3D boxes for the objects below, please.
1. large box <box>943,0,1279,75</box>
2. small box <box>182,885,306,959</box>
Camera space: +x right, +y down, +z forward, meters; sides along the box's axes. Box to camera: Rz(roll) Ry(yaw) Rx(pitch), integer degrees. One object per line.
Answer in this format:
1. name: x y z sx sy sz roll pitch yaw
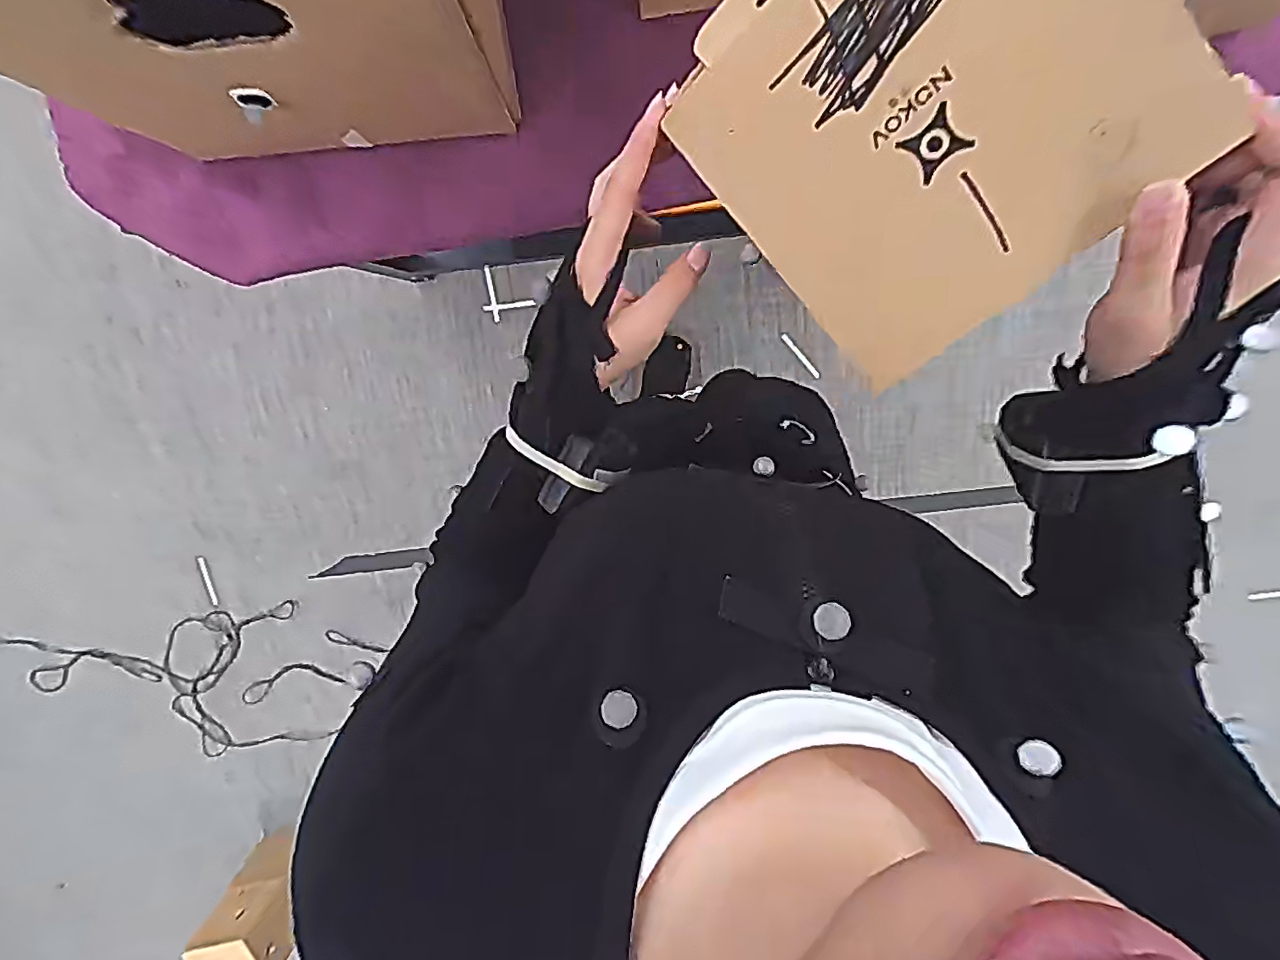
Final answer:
1. large box: 0.415 -0.561 0.327 0.320 0.320 0.408 -8 104 0
2. small box: -1.027 1.206 1.419 0.168 0.176 0.179 -14 106 2
